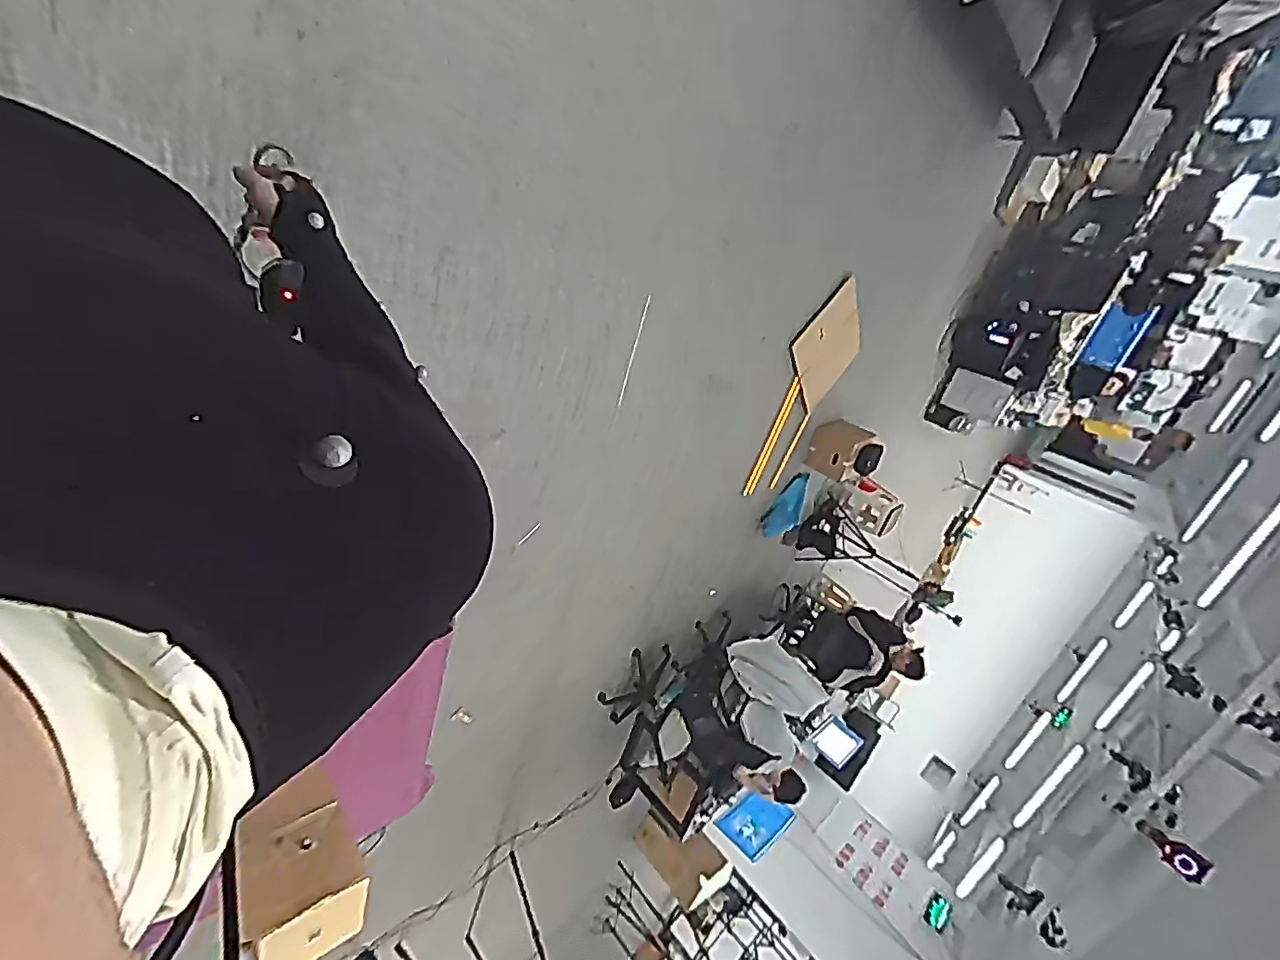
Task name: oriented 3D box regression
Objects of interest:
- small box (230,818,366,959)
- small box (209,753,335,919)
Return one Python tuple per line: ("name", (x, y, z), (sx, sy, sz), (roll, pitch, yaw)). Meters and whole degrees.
("small box", (-0.612, 0.758, 0.964), (0.168, 0.176, 0.179), (-8, 122, -46))
("small box", (-0.721, 0.682, 1.057), (0.168, 0.176, 0.179), (-6, 122, -48))
